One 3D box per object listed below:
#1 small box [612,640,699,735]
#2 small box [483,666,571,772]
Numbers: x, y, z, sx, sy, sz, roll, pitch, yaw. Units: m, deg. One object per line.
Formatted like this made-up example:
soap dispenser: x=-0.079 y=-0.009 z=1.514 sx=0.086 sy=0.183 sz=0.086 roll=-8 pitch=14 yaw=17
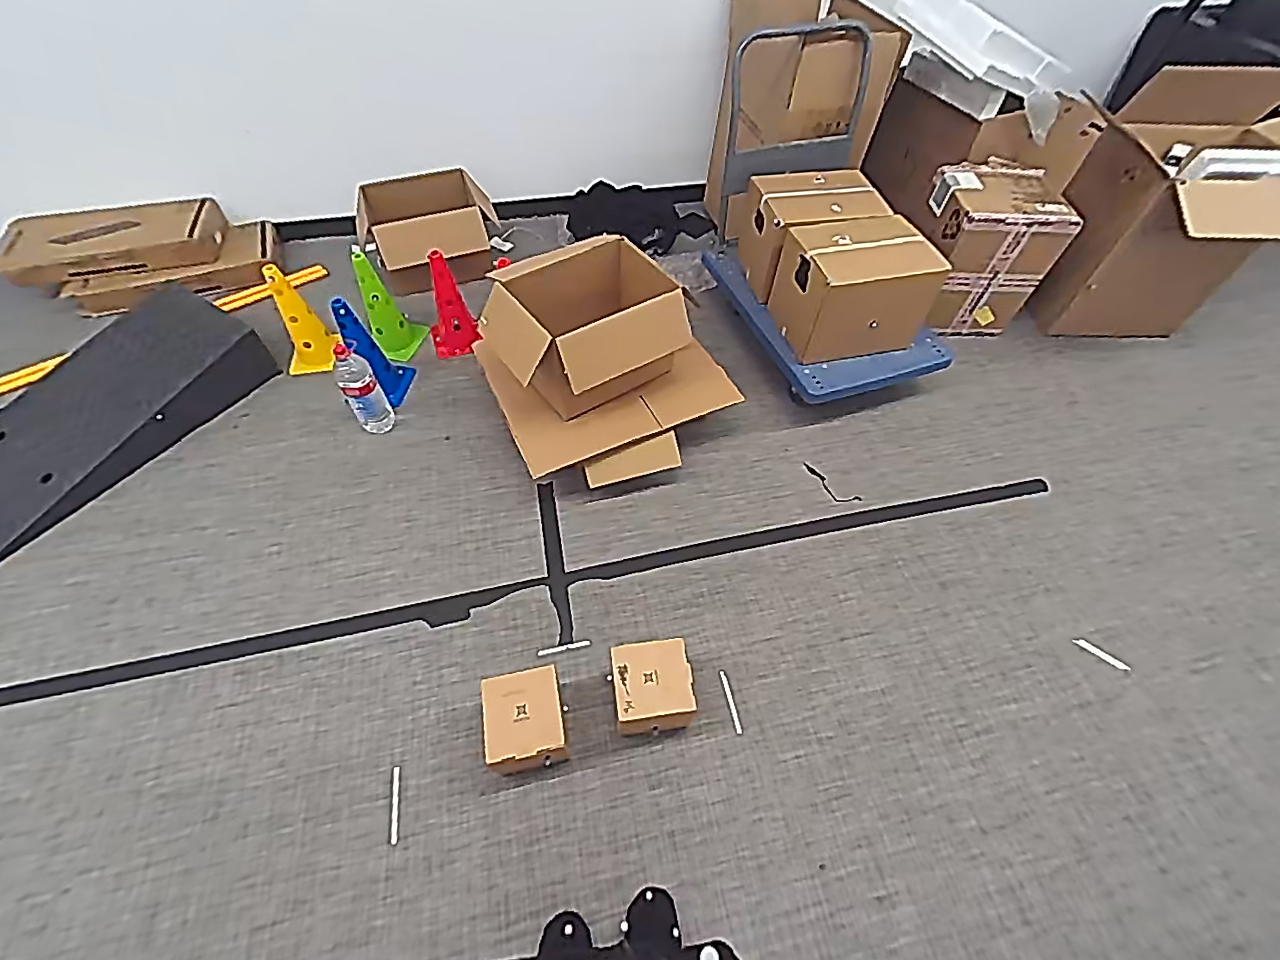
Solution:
small box: x=0.029 y=0.492 z=1.277 sx=0.179 sy=0.176 sz=0.168 roll=-5 pitch=56 yaw=-7
small box: x=-0.253 y=0.548 z=1.226 sx=0.168 sy=0.176 sz=0.179 roll=-9 pitch=55 yaw=-10
